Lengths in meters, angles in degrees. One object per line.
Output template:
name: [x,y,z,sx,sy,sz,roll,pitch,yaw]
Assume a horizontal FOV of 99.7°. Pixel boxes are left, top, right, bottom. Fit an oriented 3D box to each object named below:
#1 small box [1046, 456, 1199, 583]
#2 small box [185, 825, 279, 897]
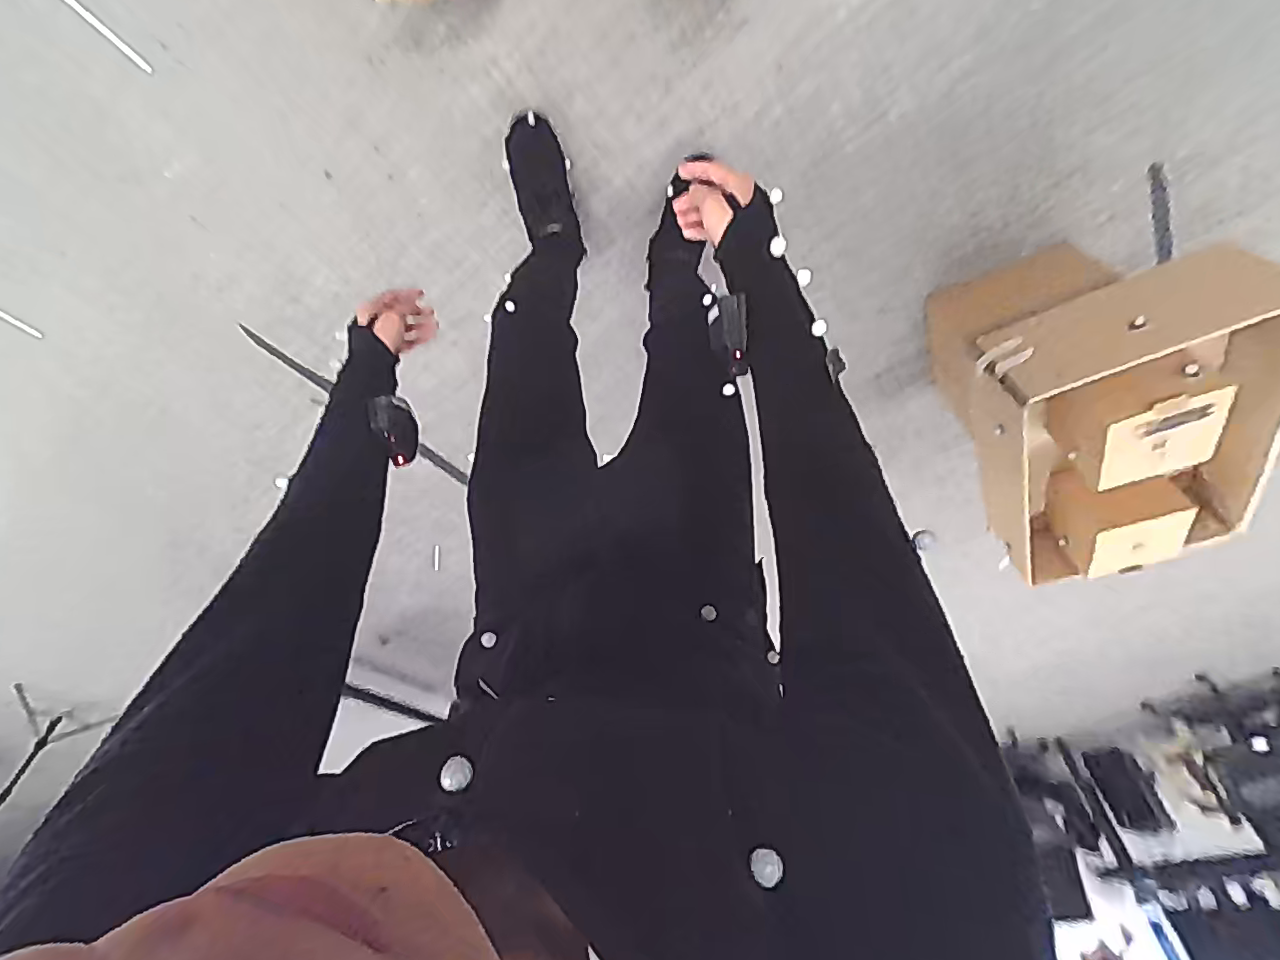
small box: [0.981,0.082,1.121,0.168,0.176,0.179,-20,131,15]
small box: [-1.399,1.317,1.867,0.179,0.176,0.168,-25,131,20]
